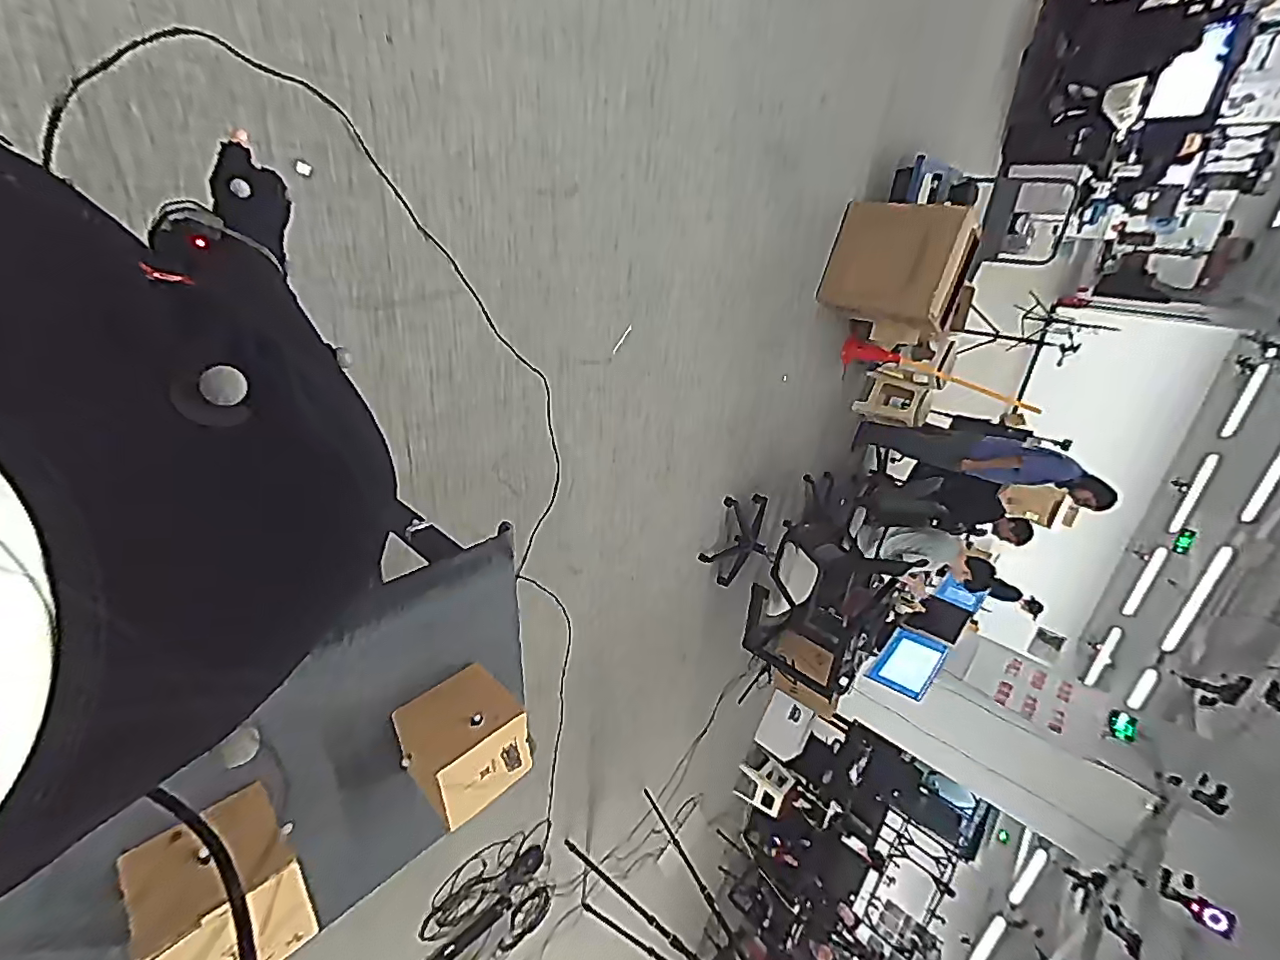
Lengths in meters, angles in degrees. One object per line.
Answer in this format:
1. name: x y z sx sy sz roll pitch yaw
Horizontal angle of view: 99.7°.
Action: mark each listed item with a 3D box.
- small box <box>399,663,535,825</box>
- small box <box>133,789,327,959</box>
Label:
1. small box: -0.320 0.481 1.014 0.179 0.176 0.168 -25 127 -39
2. small box: -0.573 0.579 0.762 0.168 0.176 0.179 -21 125 -43
